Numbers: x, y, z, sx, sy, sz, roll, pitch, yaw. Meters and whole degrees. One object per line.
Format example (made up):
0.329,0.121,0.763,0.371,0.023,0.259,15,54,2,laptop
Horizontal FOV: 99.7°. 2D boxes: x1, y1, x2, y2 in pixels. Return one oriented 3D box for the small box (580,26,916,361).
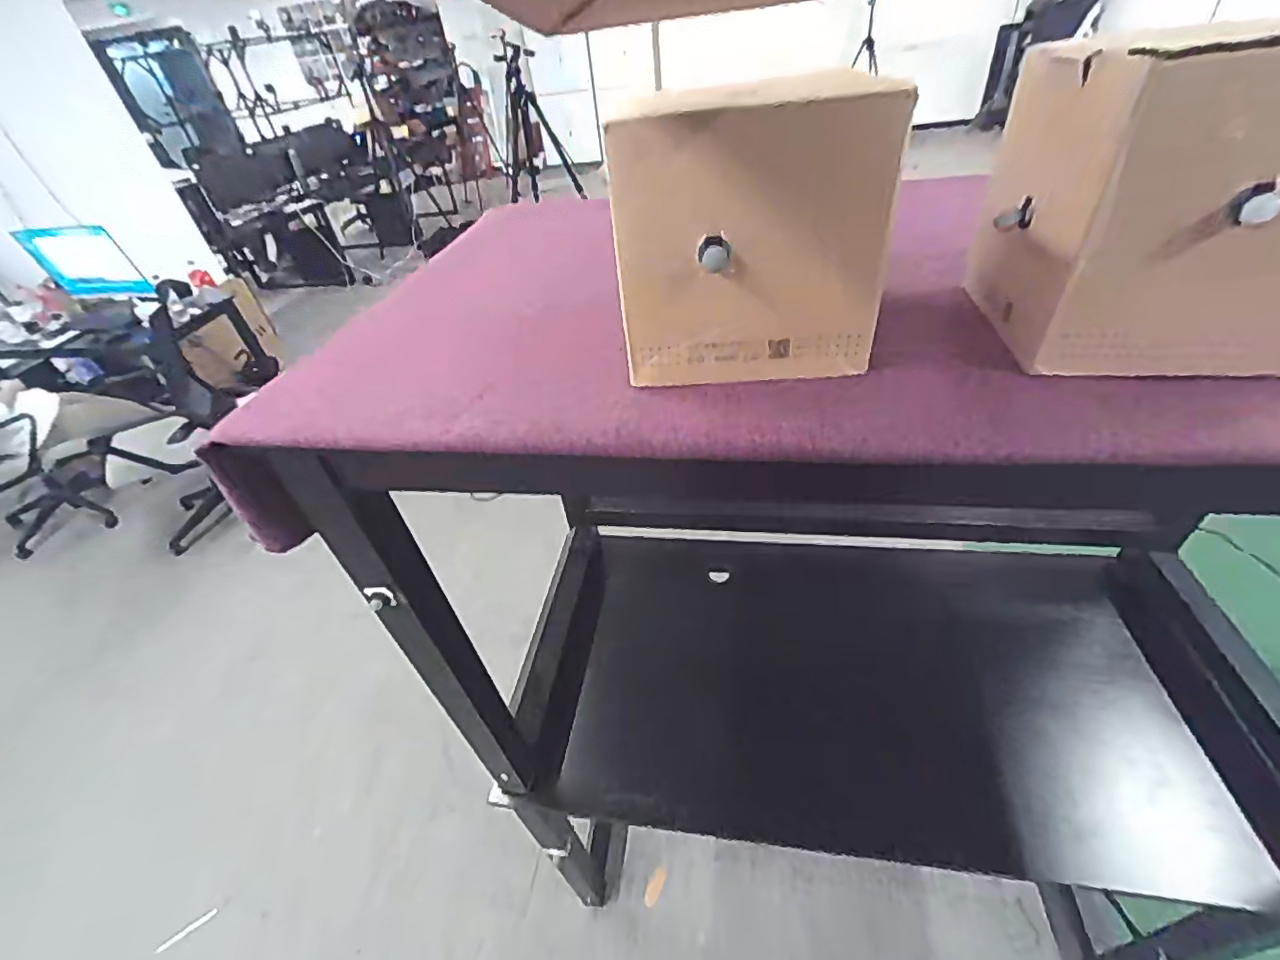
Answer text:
0.066,-0.192,0.374,0.168,0.176,0.179,0,40,8,small box
